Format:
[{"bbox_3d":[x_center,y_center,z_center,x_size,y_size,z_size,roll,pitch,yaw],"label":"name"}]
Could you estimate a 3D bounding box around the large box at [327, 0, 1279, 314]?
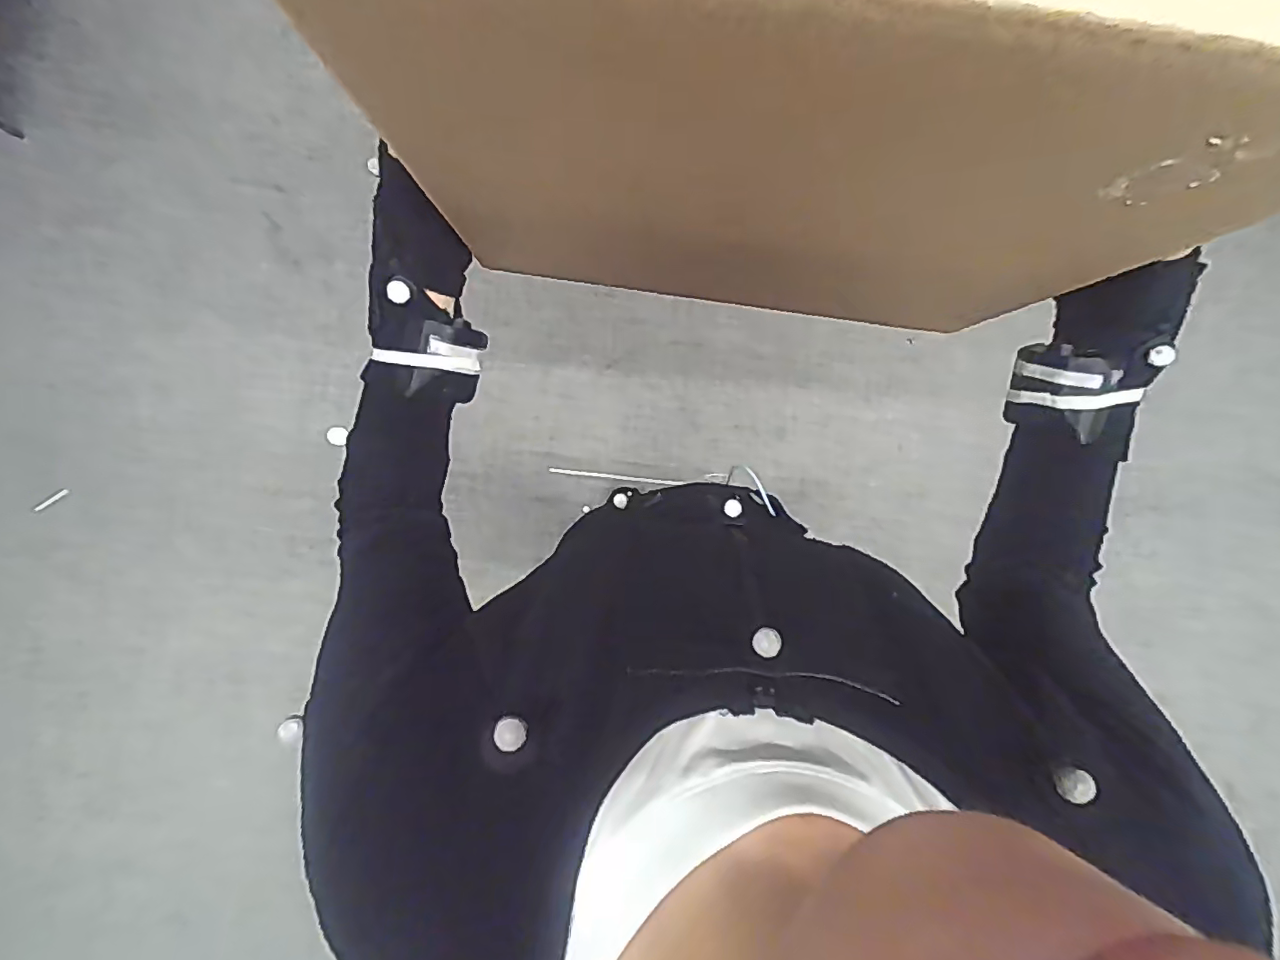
[{"bbox_3d":[0.093,-0.302,0.294,0.408,0.320,0.320,7,94,-3],"label":"large box"}]
